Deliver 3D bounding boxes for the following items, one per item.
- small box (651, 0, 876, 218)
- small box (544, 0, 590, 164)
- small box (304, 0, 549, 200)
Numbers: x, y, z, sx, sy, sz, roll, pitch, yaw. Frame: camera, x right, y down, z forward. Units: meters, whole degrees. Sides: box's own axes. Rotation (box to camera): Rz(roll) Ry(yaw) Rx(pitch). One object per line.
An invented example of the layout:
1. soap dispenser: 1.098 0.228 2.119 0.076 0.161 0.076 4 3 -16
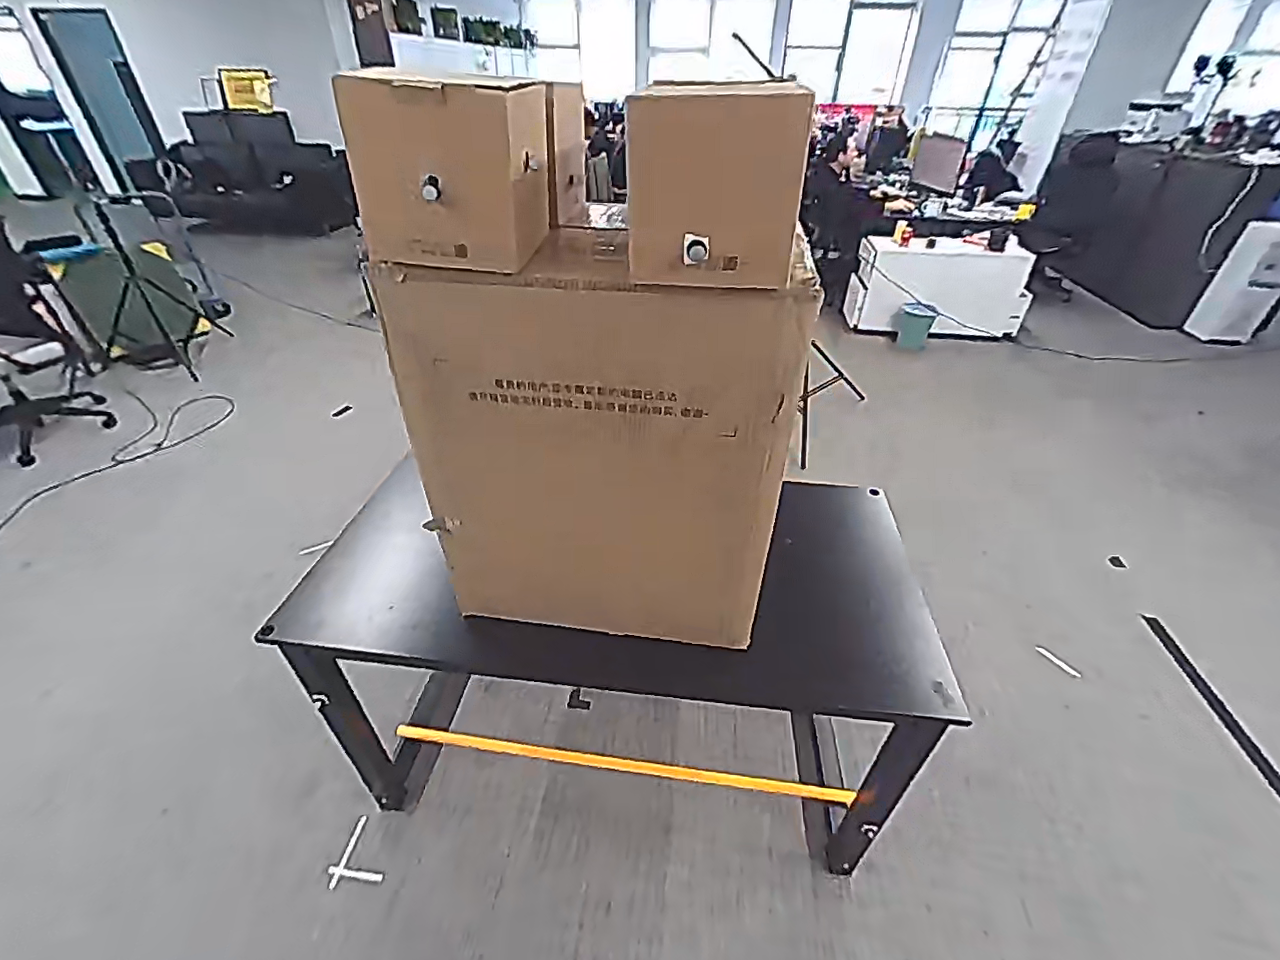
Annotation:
1. small box: 0.099 -0.354 0.499 0.168 0.176 0.179 2 39 6
2. small box: -0.166 -0.507 0.689 0.179 0.176 0.168 7 37 5
3. small box: -0.183 -0.386 0.526 0.168 0.176 0.179 5 40 -1
